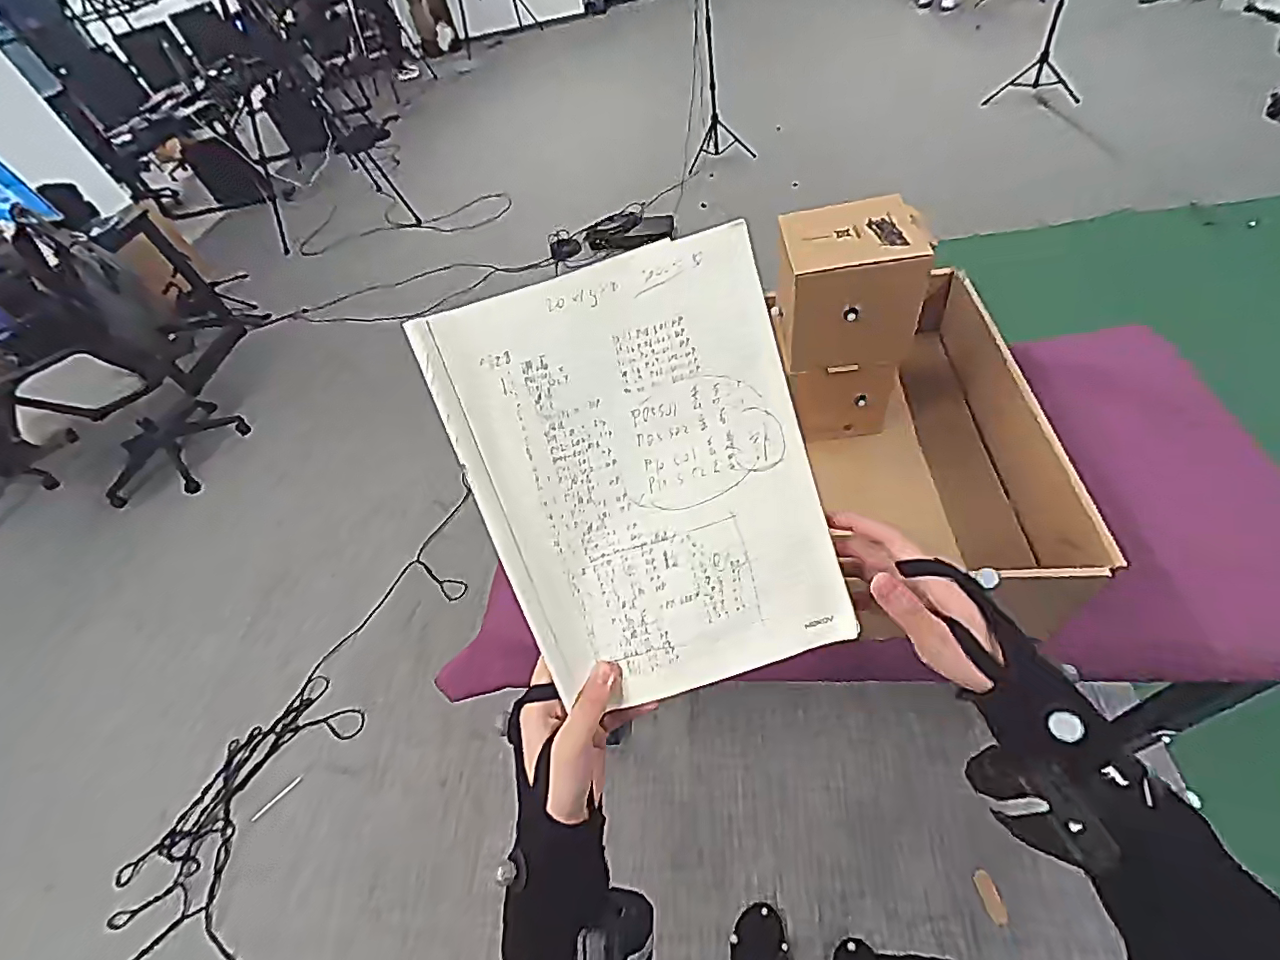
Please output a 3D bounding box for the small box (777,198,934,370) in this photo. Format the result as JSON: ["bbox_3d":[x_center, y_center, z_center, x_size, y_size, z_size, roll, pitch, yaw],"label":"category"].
[{"bbox_3d":[0.304,-0.286,0.805,0.179,0.176,0.168,-5,50,9],"label":"small box"}]
